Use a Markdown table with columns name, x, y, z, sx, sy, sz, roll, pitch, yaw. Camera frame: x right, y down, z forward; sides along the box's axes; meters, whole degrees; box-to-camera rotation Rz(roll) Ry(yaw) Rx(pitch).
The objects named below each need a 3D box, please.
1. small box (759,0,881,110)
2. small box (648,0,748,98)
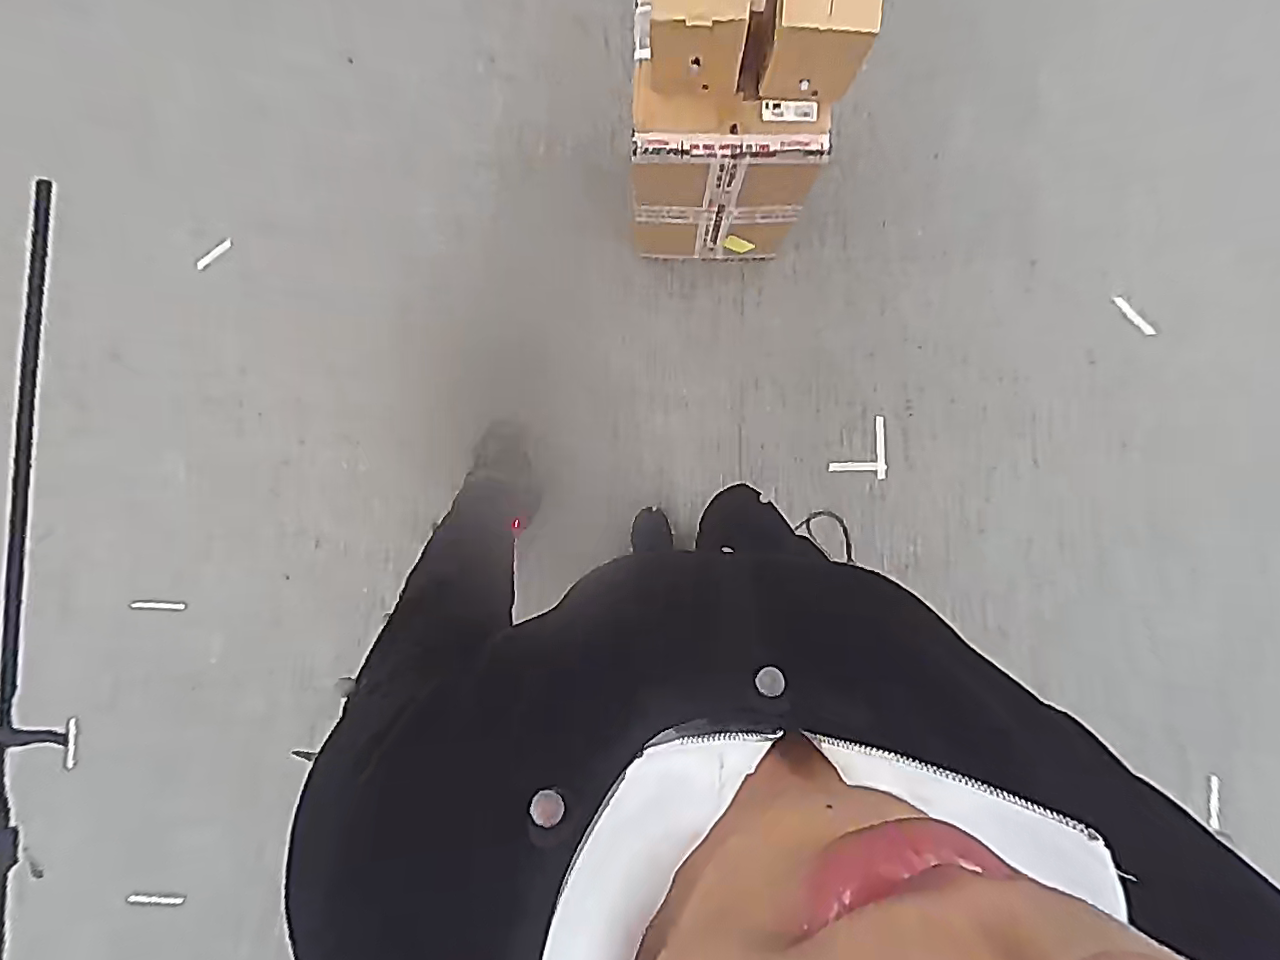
| name | x | y | z | sx | sy | sz | roll | pitch | yaw |
| --- | --- | --- | --- | --- | --- | --- | --- | --- | --- |
| small box | 0.316 | -0.815 | 0.973 | 0.168 | 0.176 | 0.179 | 4 | 90 | 0 |
| small box | 0.106 | -0.829 | 0.975 | 0.168 | 0.176 | 0.179 | 4 | 90 | 3 |
